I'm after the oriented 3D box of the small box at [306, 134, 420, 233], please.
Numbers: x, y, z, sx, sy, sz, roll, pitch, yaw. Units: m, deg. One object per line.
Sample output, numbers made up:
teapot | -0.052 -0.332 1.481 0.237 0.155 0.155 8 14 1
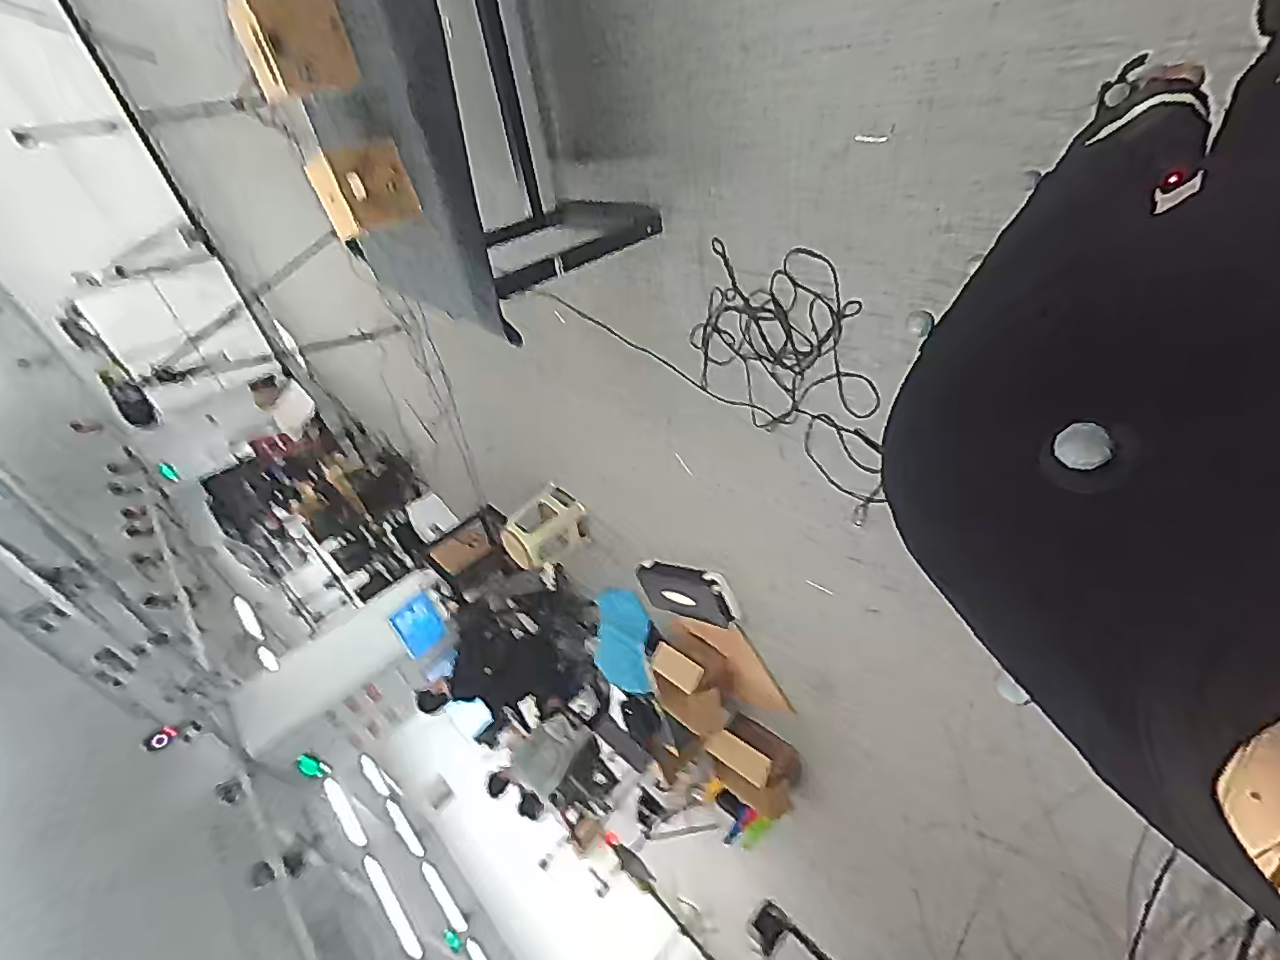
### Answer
small box | -0.659 -0.708 1.297 0.179 0.176 0.168 17 133 46
